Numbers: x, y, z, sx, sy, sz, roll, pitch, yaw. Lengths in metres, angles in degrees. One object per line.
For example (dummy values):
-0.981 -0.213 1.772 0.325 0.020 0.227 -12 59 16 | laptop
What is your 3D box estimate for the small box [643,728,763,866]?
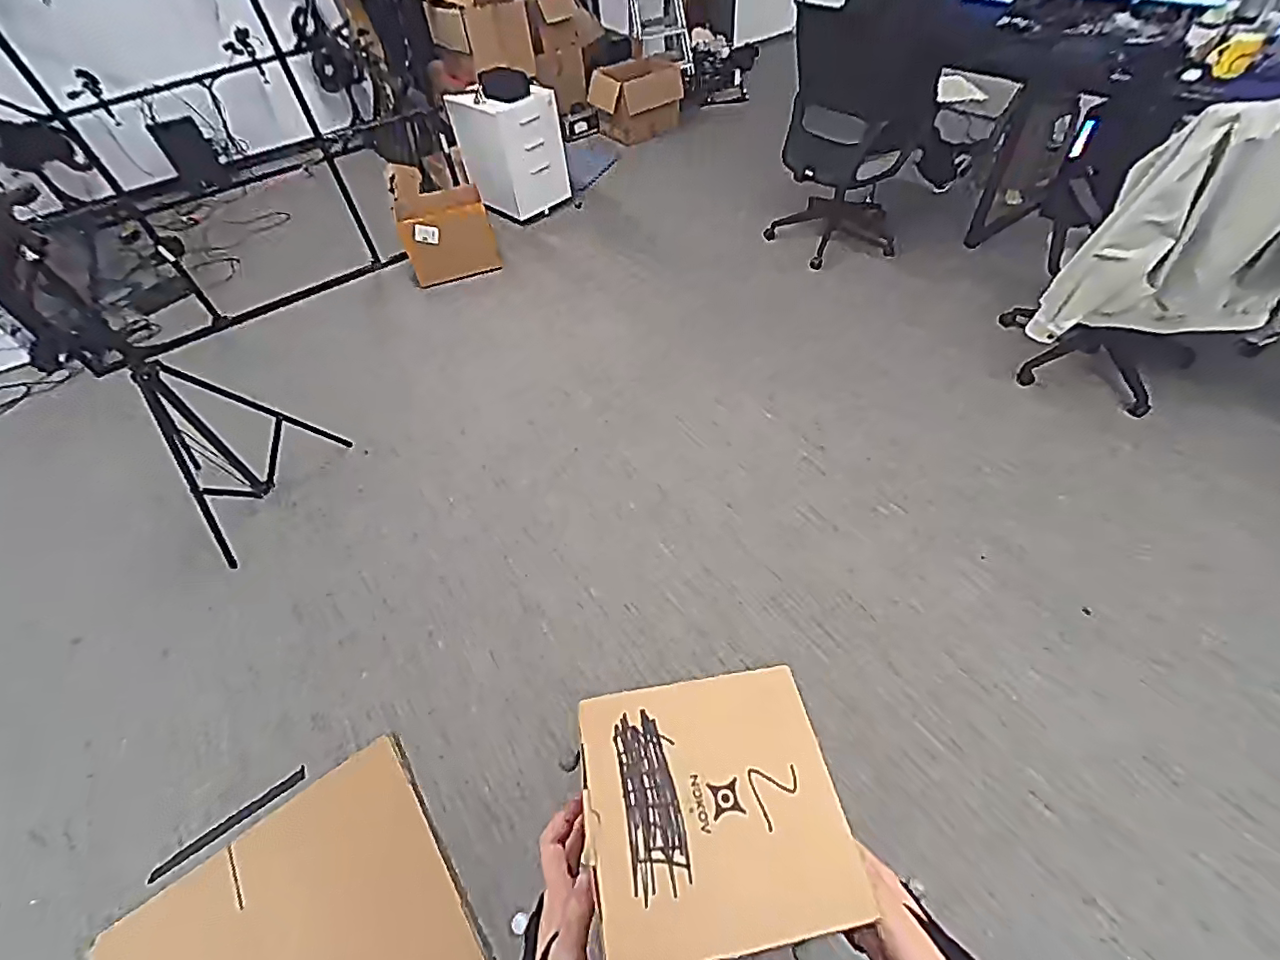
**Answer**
0.112 0.554 0.939 0.179 0.176 0.168 7 53 10 | small box
